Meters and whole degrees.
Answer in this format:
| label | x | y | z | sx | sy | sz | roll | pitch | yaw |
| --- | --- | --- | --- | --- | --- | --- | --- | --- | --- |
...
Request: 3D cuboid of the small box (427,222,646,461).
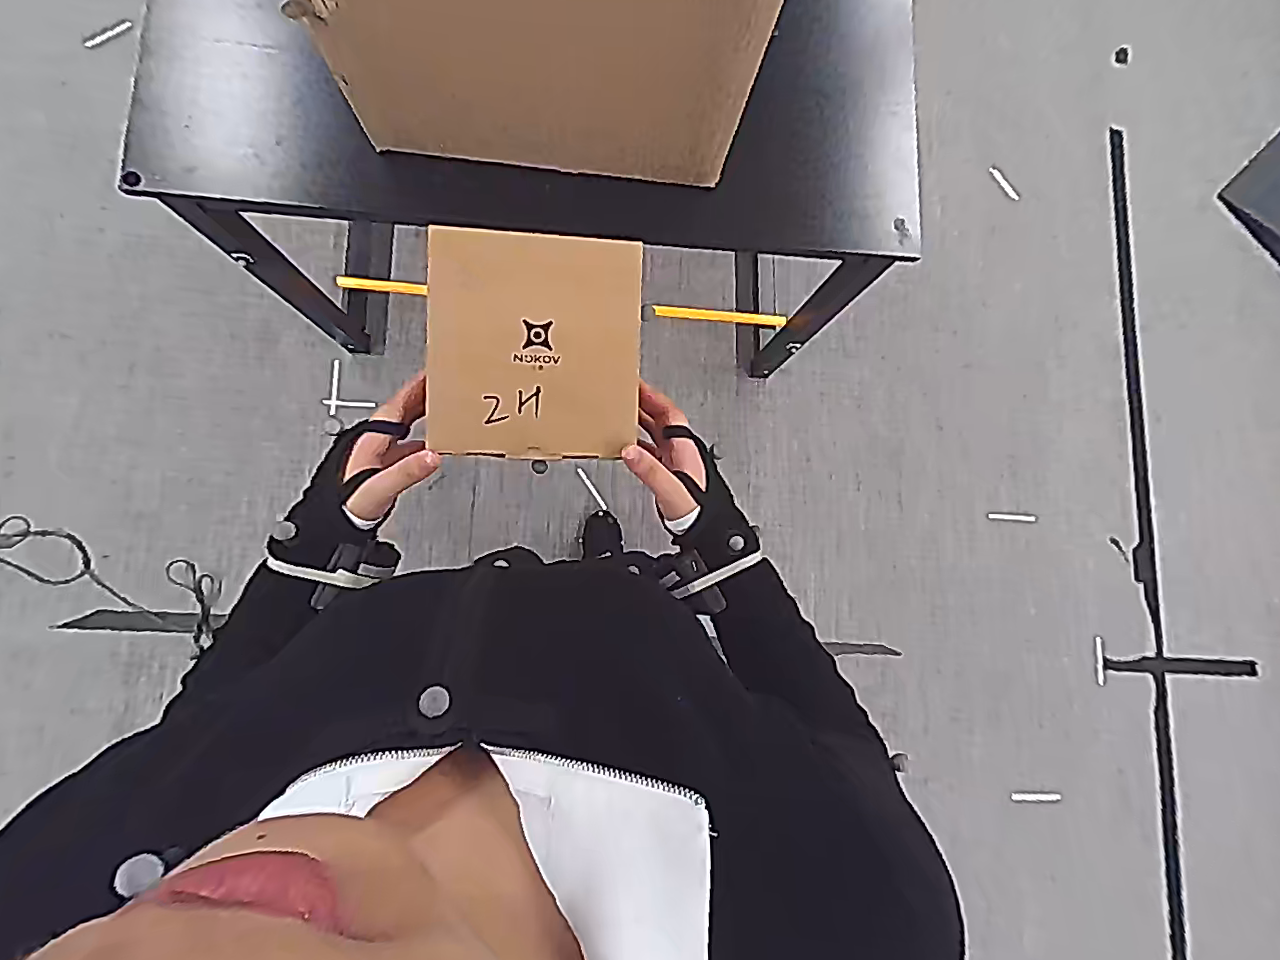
| label | x | y | z | sx | sy | sz | roll | pitch | yaw |
| --- | --- | --- | --- | --- | --- | --- | --- | --- | --- |
| small box | -0.090 | -0.109 | 0.502 | 0.168 | 0.176 | 0.179 | 1 | 91 | -7 |
